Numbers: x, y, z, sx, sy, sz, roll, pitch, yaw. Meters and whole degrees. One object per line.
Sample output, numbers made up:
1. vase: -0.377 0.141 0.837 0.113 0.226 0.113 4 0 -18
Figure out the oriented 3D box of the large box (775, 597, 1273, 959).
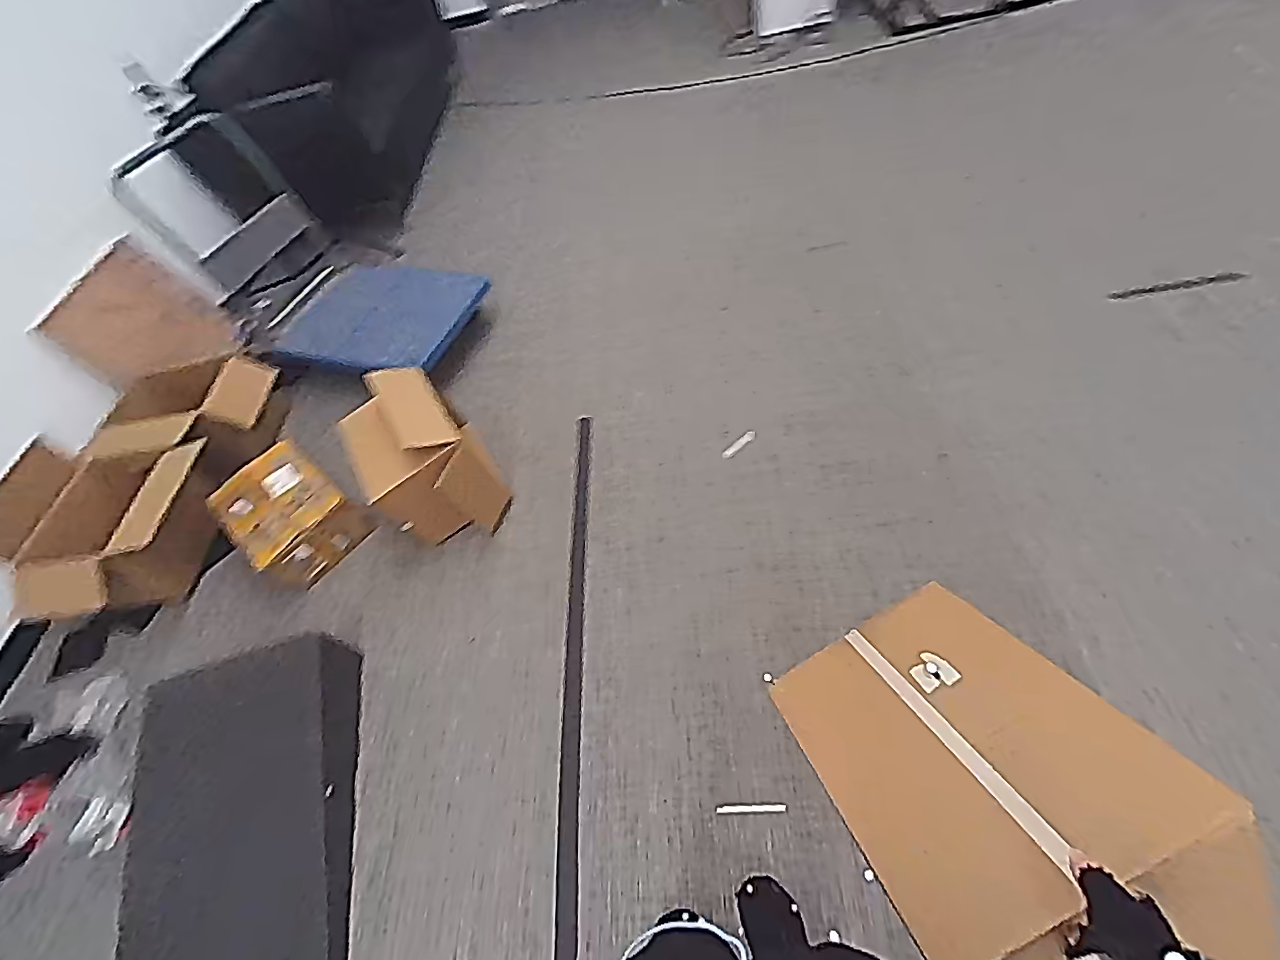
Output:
1. large box: 0.449 0.438 0.713 0.320 0.320 0.408 -31 20 1
